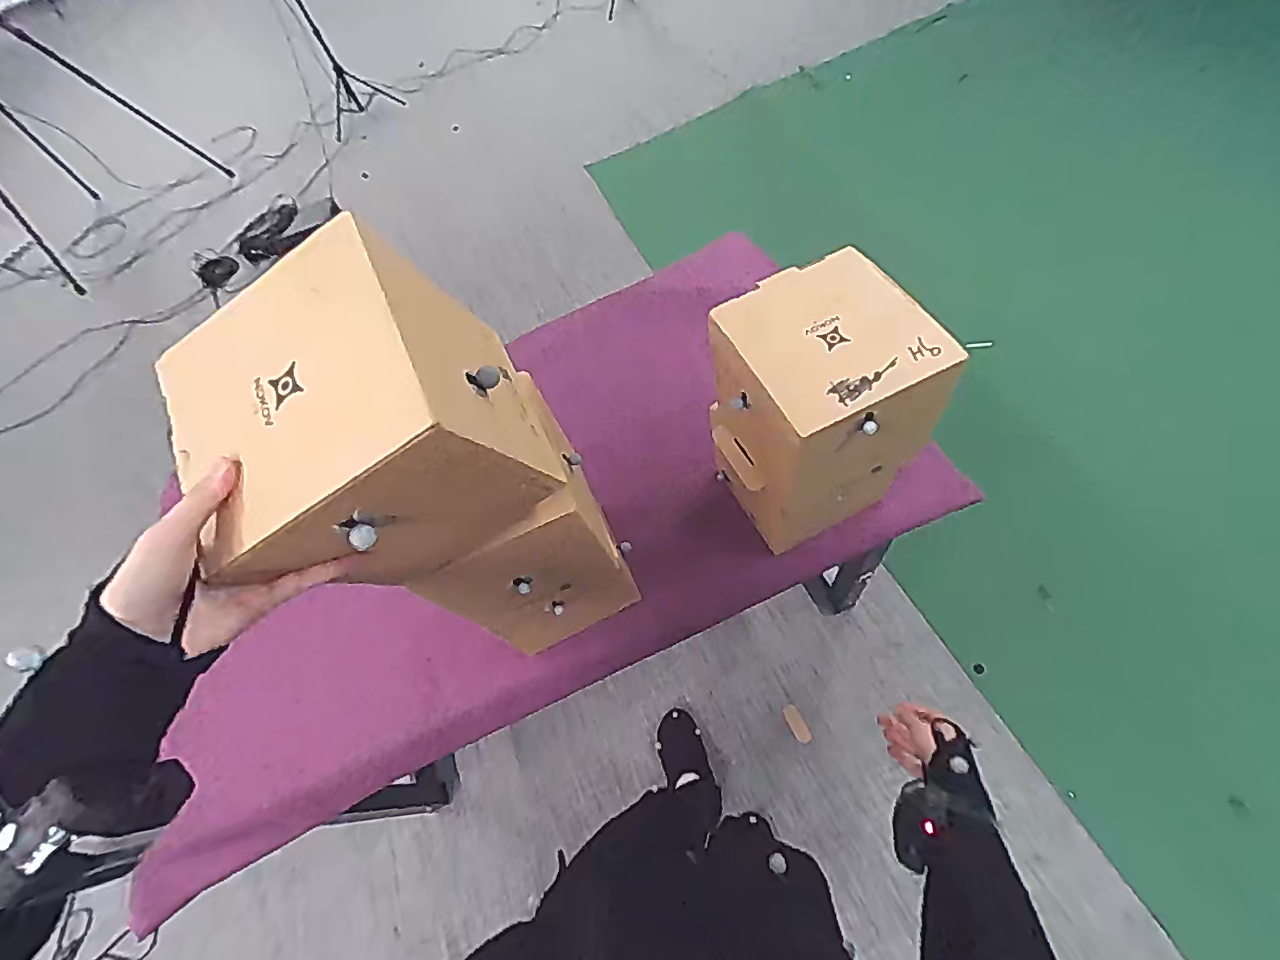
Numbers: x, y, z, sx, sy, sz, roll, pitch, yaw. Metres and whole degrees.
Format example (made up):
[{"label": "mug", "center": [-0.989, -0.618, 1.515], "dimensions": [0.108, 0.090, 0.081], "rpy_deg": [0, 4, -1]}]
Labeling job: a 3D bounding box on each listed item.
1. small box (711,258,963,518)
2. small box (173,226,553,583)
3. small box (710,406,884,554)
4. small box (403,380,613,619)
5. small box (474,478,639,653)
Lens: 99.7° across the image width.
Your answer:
[{"label": "small box", "center": [0.189, -0.091, 0.574], "dimensions": [0.168, 0.176, 0.179], "rpy_deg": [-26, 59, -2]}, {"label": "small box", "center": [-0.186, -0.036, 0.403], "dimensions": [0.179, 0.176, 0.168], "rpy_deg": [-31, 70, 10]}, {"label": "small box", "center": [0.213, -0.026, 0.724], "dimensions": [0.179, 0.176, 0.168], "rpy_deg": [-27, 60, -4]}, {"label": "small box", "center": [-0.142, 0.033, 0.575], "dimensions": [0.168, 0.176, 0.179], "rpy_deg": [-23, 60, -1]}, {"label": "small box", "center": [-0.120, 0.109, 0.719], "dimensions": [0.179, 0.176, 0.168], "rpy_deg": [-25, 60, -3]}]
